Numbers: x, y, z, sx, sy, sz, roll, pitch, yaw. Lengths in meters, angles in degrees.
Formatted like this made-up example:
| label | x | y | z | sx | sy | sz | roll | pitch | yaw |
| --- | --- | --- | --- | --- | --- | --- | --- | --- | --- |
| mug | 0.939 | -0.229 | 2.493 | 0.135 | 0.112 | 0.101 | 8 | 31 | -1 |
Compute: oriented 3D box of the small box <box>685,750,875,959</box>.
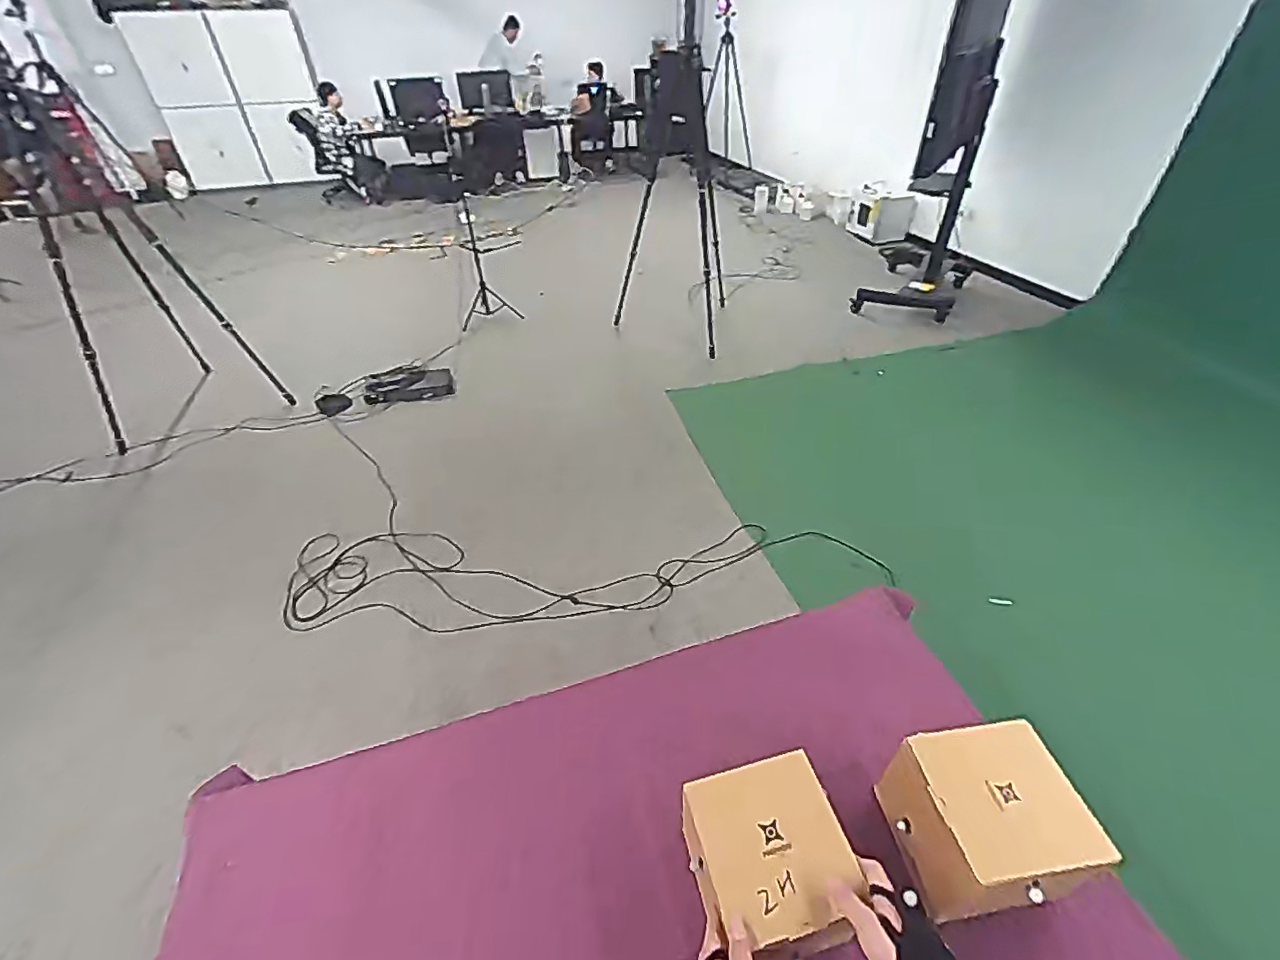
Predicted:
| label | x | y | z | sx | sy | sz | roll | pitch | yaw |
| --- | --- | --- | --- | --- | --- | --- | --- | --- | --- |
| small box | 0.156 | 0.477 | 0.675 | 0.168 | 0.176 | 0.179 | -12 | 42 | -7 |

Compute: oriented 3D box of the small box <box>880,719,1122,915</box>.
| label | x | y | z | sx | sy | sz | roll | pitch | yaw |
| --- | --- | --- | --- | --- | --- | --- | --- | --- | --- |
| small box | 0.447 | 0.440 | 0.707 | 0.179 | 0.176 | 0.168 | -8 | 41 | -3 |
